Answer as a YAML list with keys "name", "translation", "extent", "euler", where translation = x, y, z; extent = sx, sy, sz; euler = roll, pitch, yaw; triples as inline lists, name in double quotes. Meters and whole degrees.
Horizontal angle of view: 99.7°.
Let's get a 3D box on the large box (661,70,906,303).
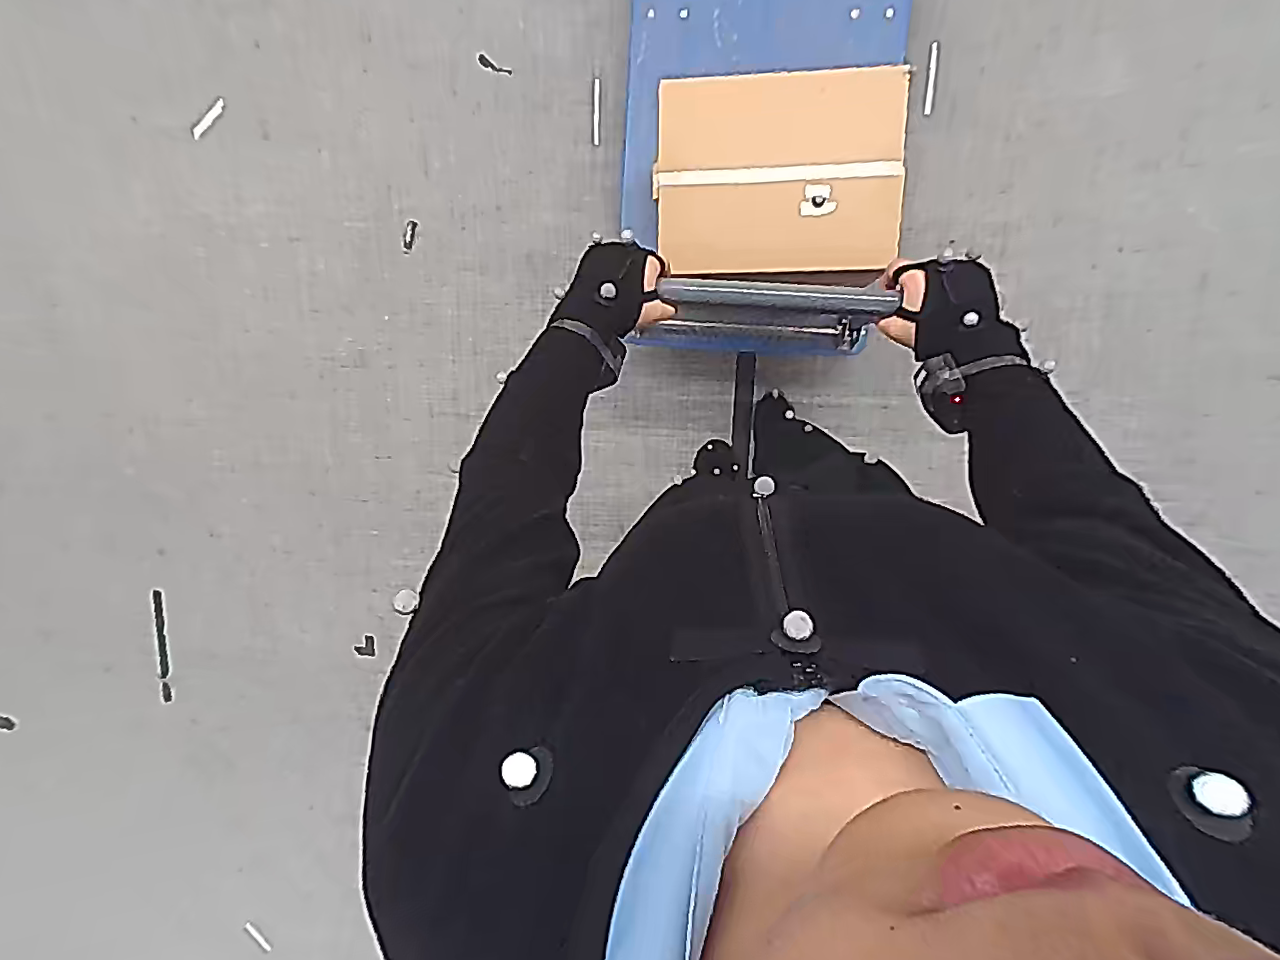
- name: "large box"
  translation: [0.248, -0.537, 1.063]
  extent: [0.408, 0.320, 0.320]
  euler: [0, 100, 5]
